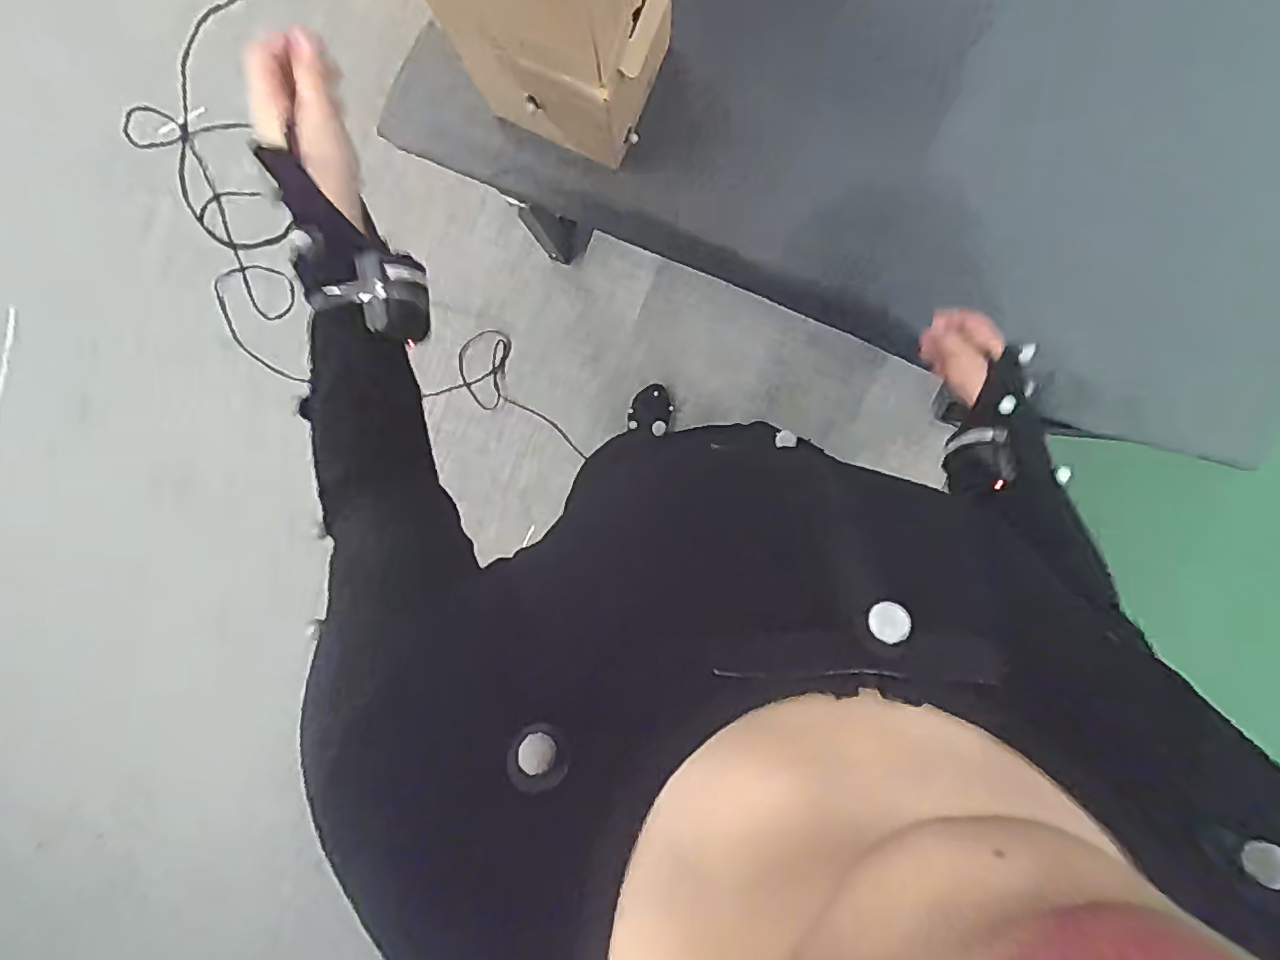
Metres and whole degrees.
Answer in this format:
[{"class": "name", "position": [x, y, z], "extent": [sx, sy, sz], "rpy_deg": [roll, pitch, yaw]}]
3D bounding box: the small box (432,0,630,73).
[{"class": "small box", "position": [-0.093, -0.478, 0.435], "extent": [0.179, 0.176, 0.168], "rpy_deg": [19, 99, -1]}]

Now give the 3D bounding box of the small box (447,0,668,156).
[{"class": "small box", "position": [-0.075, -0.494, 0.596], "extent": [0.179, 0.176, 0.168], "rpy_deg": [24, 99, -1]}]
